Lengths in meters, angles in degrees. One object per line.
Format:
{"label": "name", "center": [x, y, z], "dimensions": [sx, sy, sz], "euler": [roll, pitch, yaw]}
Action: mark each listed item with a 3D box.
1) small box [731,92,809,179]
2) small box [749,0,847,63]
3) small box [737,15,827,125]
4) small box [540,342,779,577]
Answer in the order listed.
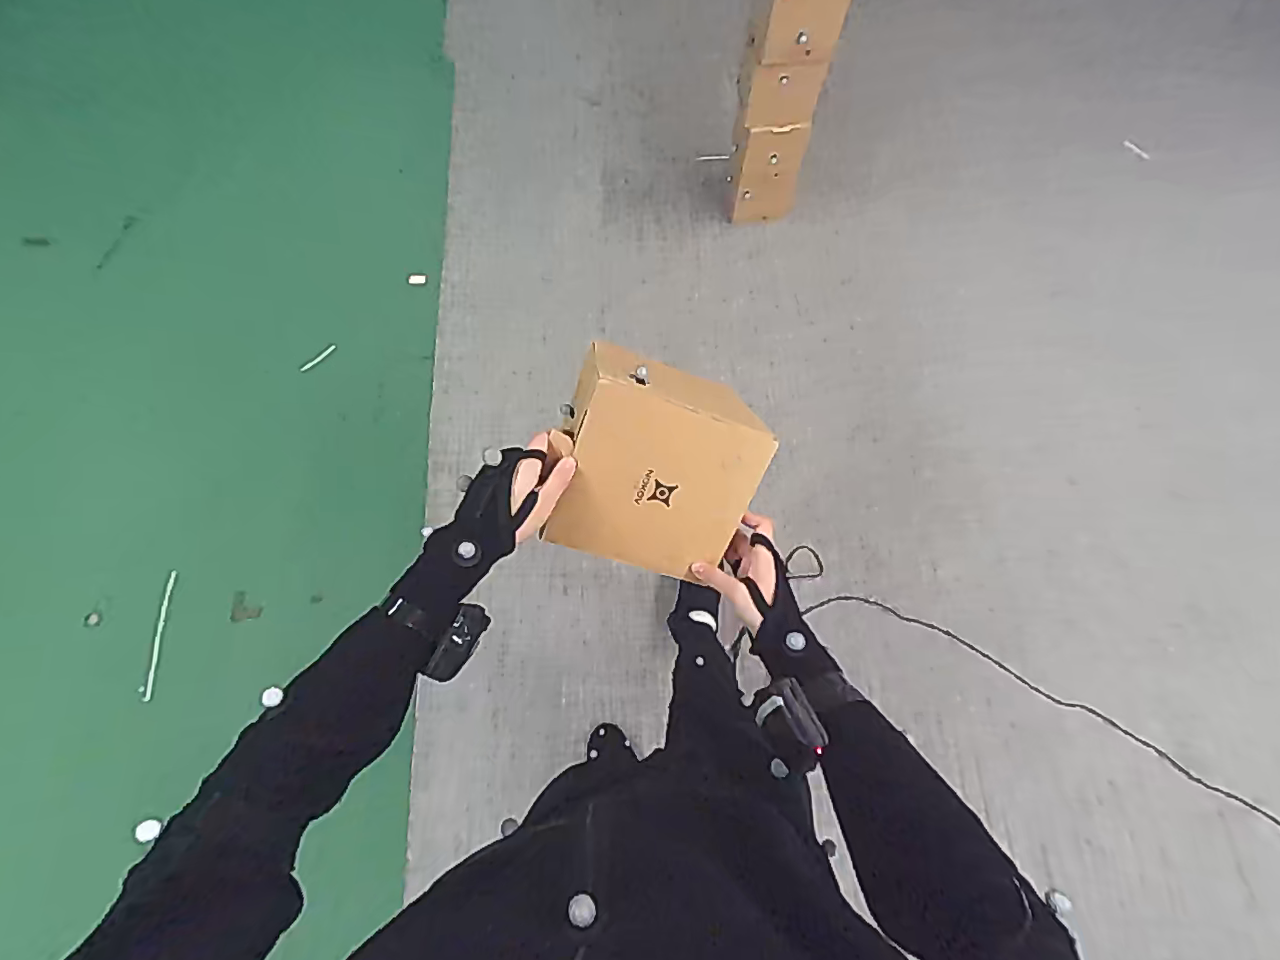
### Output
{"label": "small box", "center": [0.355, -0.967, 1.505], "dimensions": [0.168, 0.176, 0.179], "euler": [-5, 74, -2]}
{"label": "small box", "center": [0.346, -1.069, 1.192], "dimensions": [0.168, 0.176, 0.179], "euler": [-6, 73, -1]}
{"label": "small box", "center": [0.344, -1.021, 1.350], "dimensions": [0.179, 0.176, 0.168], "euler": [-4, 73, -2]}
{"label": "small box", "center": [0.009, -0.030, 0.561], "dimensions": [0.179, 0.176, 0.168], "euler": [18, 111, -13]}
